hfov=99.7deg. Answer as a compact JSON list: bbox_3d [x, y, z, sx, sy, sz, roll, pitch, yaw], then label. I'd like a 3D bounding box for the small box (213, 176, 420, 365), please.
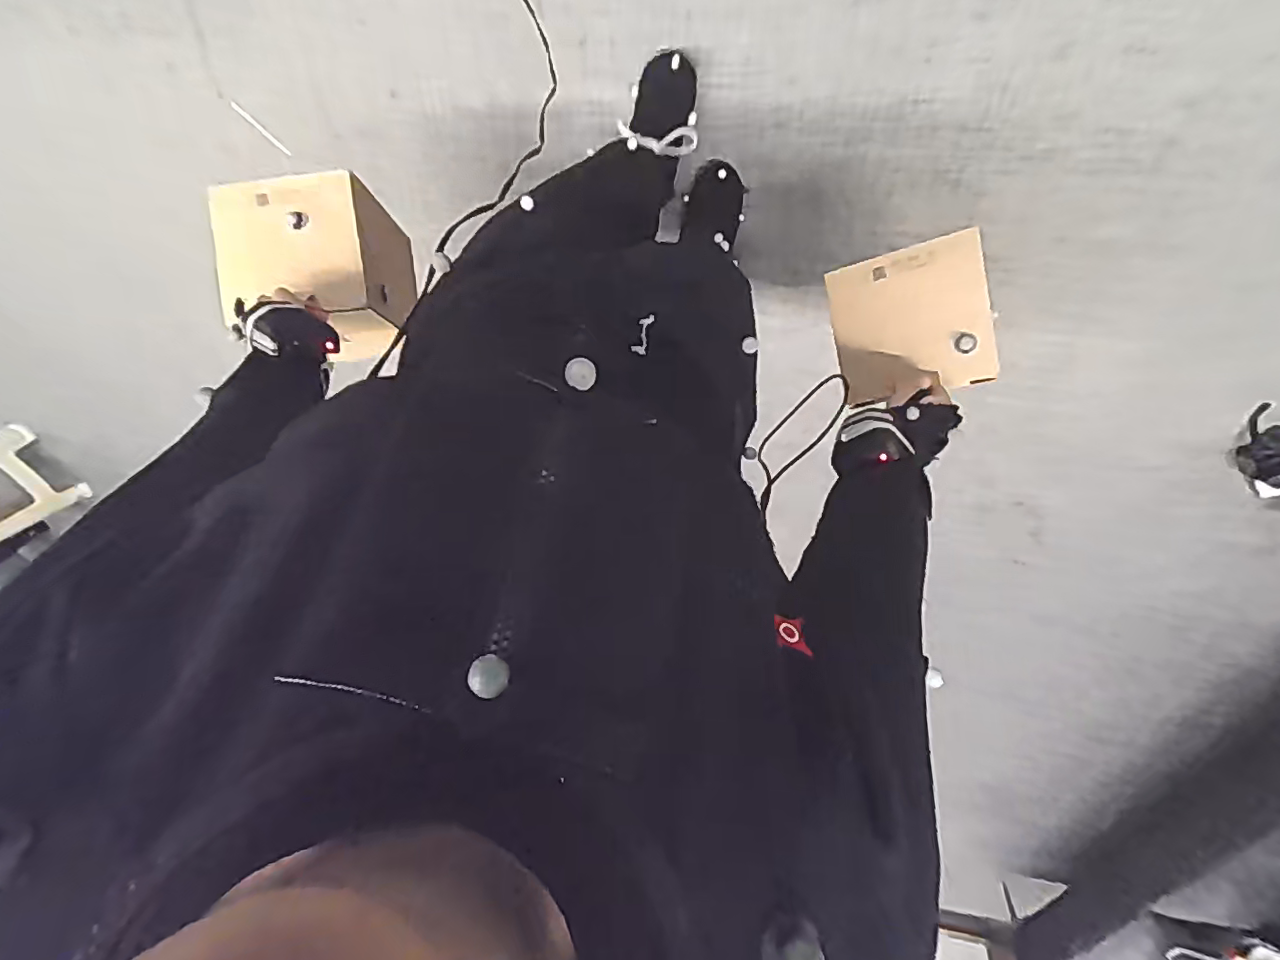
[{"bbox_3d":[-0.407,-0.261,0.704,0.168,0.179,0.176,-9,88,-2],"label":"small box"}]
